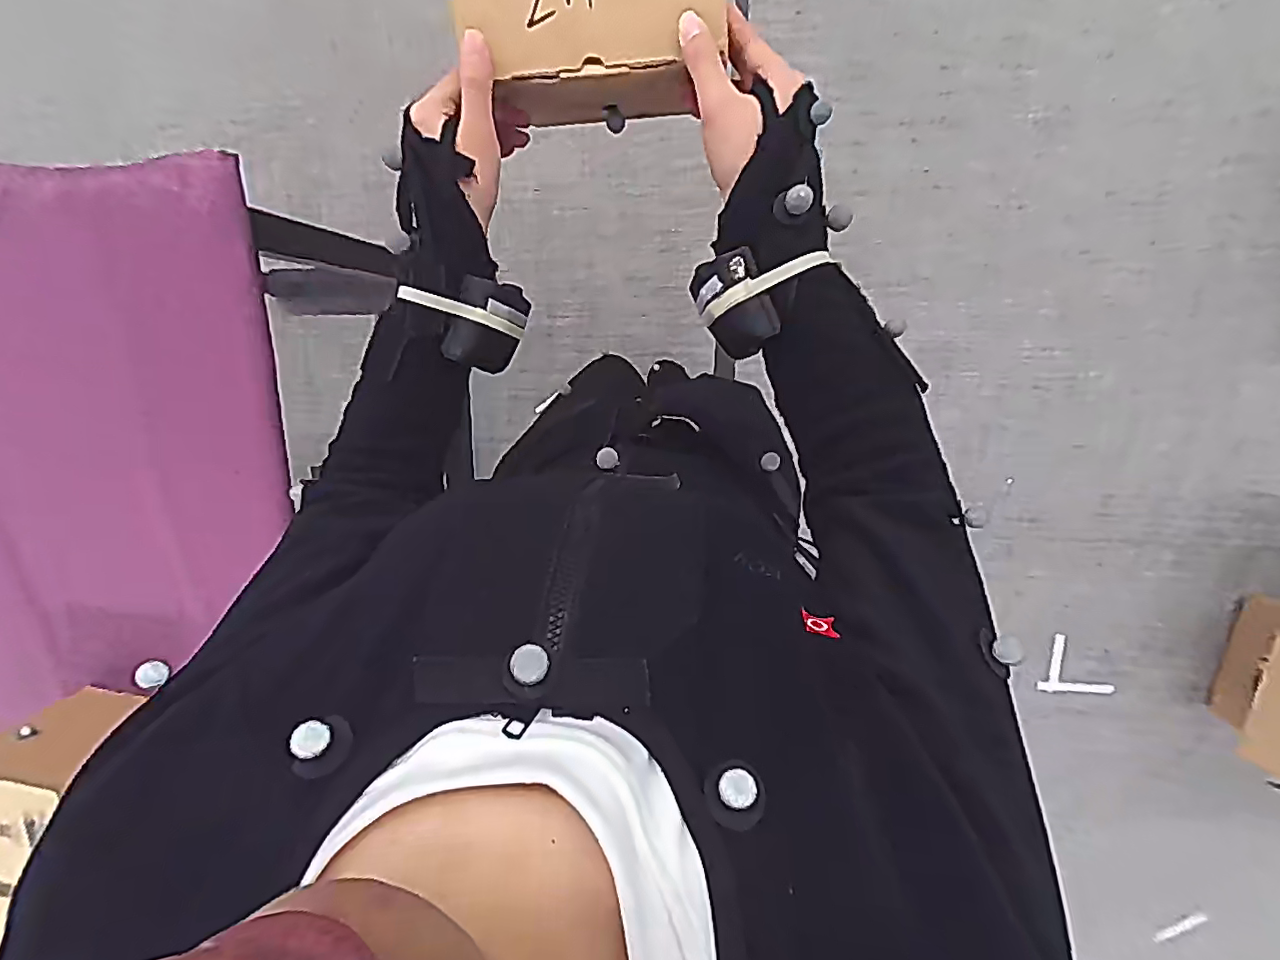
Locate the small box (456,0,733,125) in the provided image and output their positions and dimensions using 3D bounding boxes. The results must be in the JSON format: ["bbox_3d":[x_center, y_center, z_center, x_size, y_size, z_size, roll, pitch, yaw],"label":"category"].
[{"bbox_3d":[-0.023,-0.364,0.367,0.168,0.176,0.179,0,114,6],"label":"small box"}]
